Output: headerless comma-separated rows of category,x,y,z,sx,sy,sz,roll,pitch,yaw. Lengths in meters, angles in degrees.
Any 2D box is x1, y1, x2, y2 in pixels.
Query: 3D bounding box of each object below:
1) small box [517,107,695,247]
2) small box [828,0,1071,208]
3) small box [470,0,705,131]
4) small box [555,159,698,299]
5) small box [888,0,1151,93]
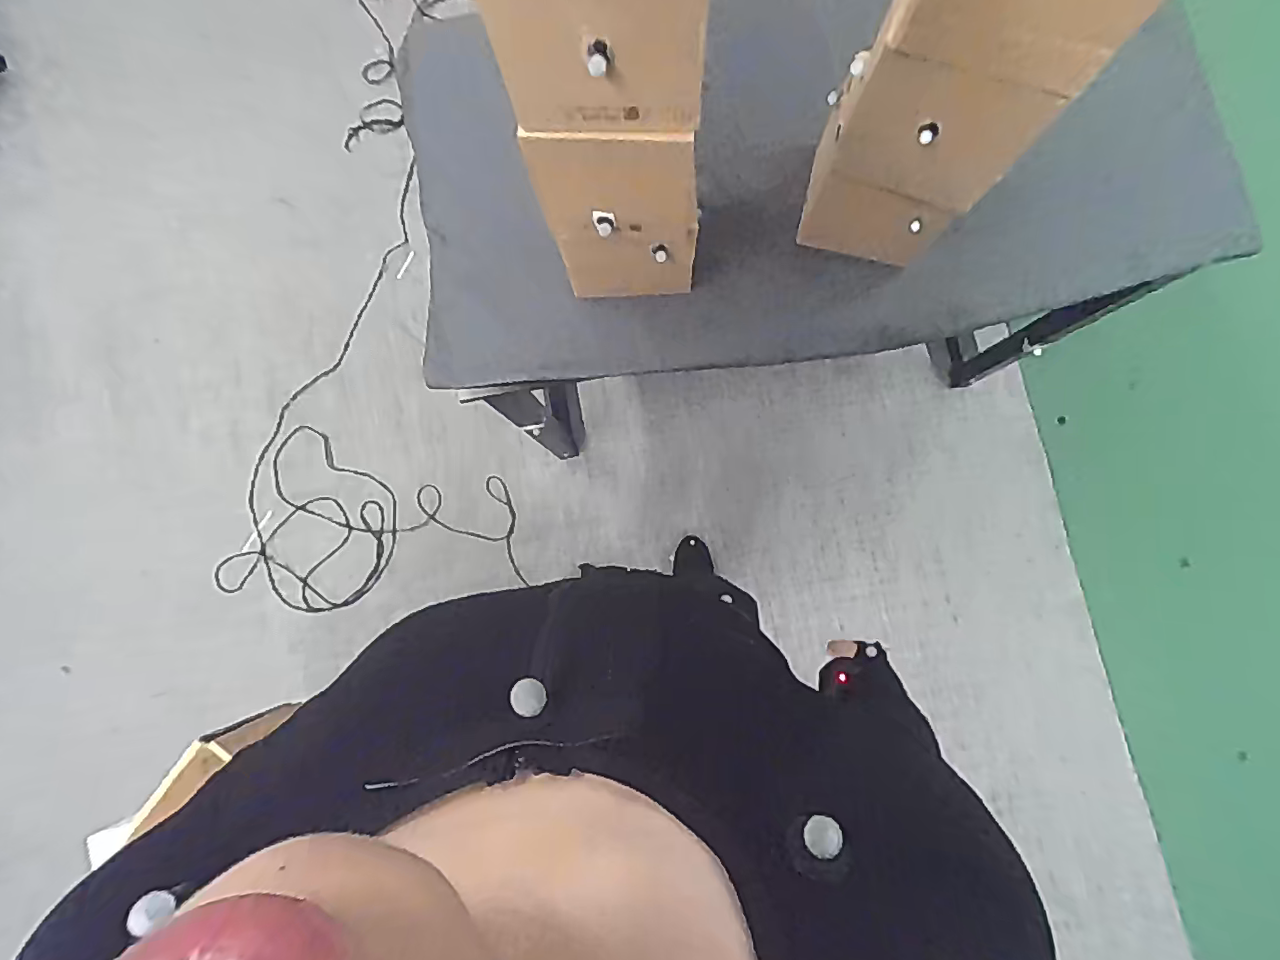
small box,-0.024,-0.382,0.586,0.168,0.176,0.179,3,84,4
small box,0.330,-0.426,0.575,0.179,0.176,0.168,21,84,5
small box,-0.031,-0.409,0.424,0.168,0.176,0.179,2,83,3
small box,-0.017,-0.366,0.748,0.179,0.176,0.168,-2,82,2
small box,0.322,-0.446,0.414,0.179,0.176,0.168,19,83,4
